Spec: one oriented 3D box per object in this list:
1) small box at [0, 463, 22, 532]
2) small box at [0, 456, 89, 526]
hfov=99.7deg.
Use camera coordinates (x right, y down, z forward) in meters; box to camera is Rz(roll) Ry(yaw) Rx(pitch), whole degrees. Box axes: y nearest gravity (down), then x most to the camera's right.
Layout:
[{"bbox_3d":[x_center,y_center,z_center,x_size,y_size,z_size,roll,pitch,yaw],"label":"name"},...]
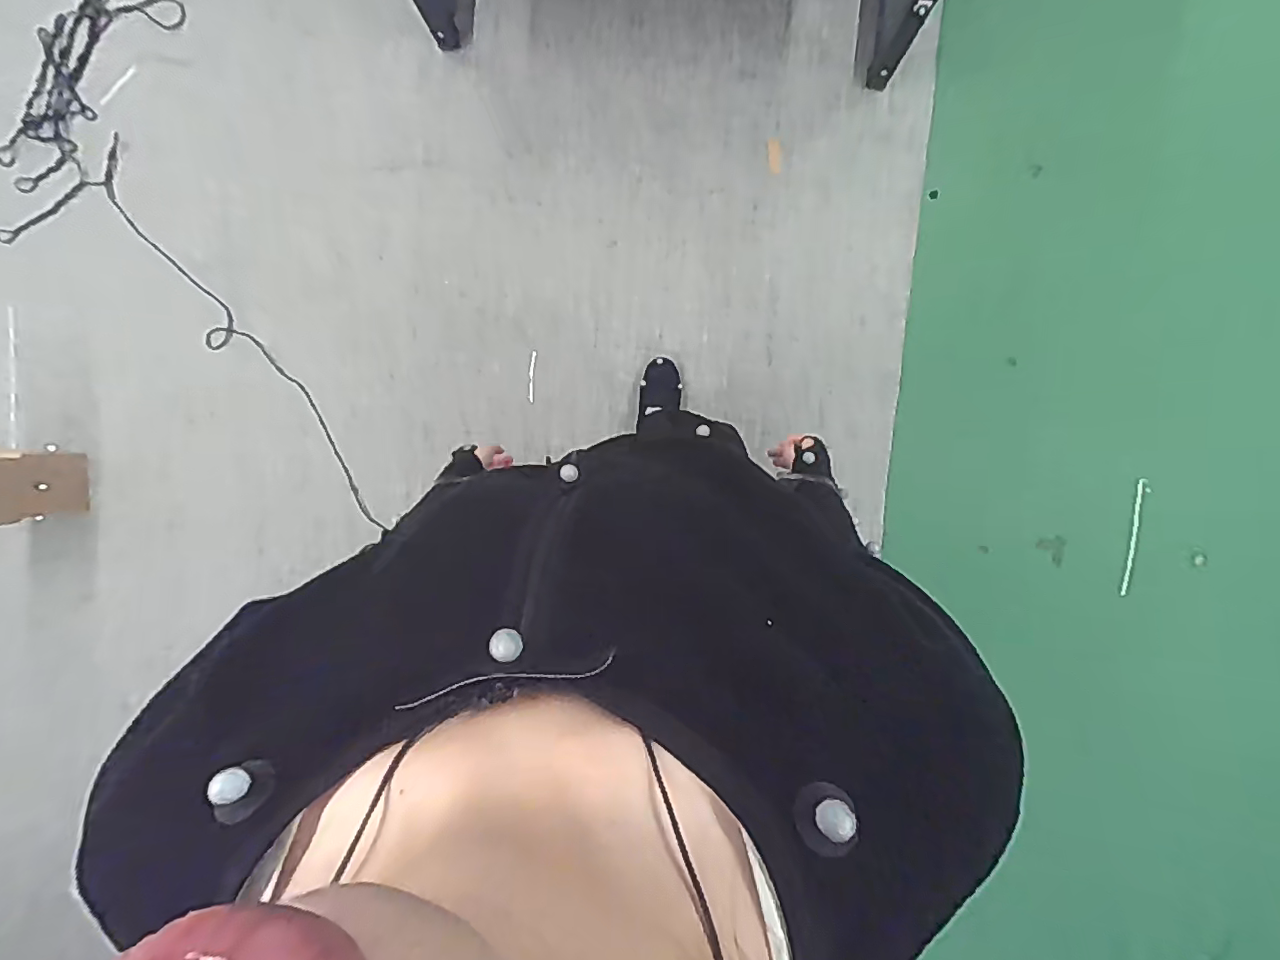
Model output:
[{"bbox_3d":[-1.702,0.045,1.339,0.168,0.176,0.179,4,93,1],"label":"small box"},{"bbox_3d":[-1.693,0.026,1.502,0.168,0.176,0.179,4,93,2],"label":"small box"}]
